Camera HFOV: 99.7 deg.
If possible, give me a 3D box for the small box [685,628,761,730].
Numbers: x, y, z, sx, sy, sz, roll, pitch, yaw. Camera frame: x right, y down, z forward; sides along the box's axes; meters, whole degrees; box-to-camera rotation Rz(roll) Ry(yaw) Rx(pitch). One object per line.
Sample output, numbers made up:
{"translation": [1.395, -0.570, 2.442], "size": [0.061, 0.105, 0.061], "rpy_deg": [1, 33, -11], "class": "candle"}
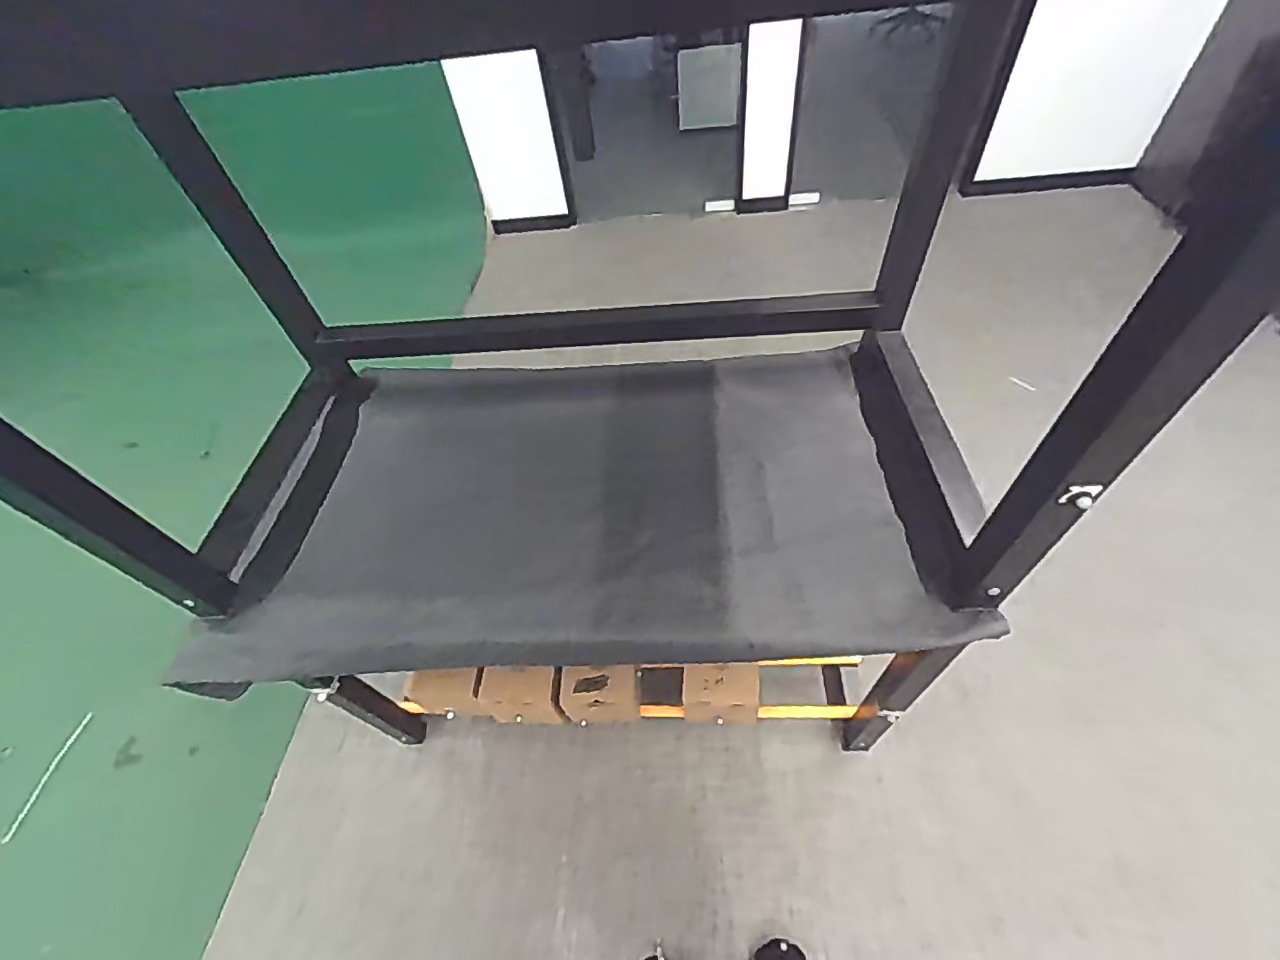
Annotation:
{"translation": [0.195, 0.467, 1.268], "size": [0.168, 0.176, 0.179], "rpy_deg": [1, 53, 10], "class": "small box"}
